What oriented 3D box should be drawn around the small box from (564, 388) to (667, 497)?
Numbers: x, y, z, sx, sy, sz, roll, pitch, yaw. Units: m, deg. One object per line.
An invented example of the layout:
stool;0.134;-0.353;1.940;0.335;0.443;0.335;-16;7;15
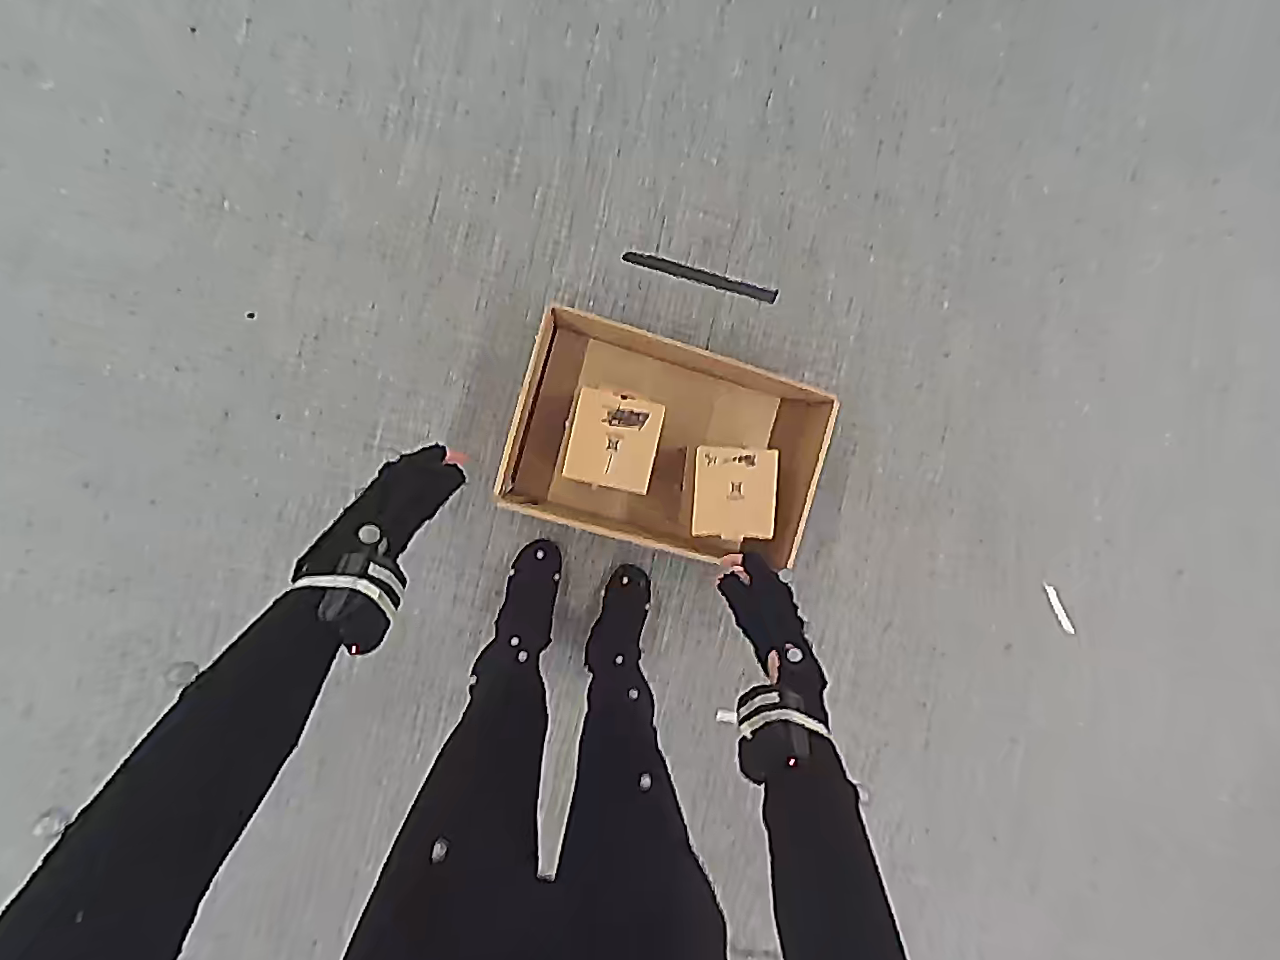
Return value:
small box;-0.057;-0.074;1.090;0.168;0.176;0.179;13;91;-9
